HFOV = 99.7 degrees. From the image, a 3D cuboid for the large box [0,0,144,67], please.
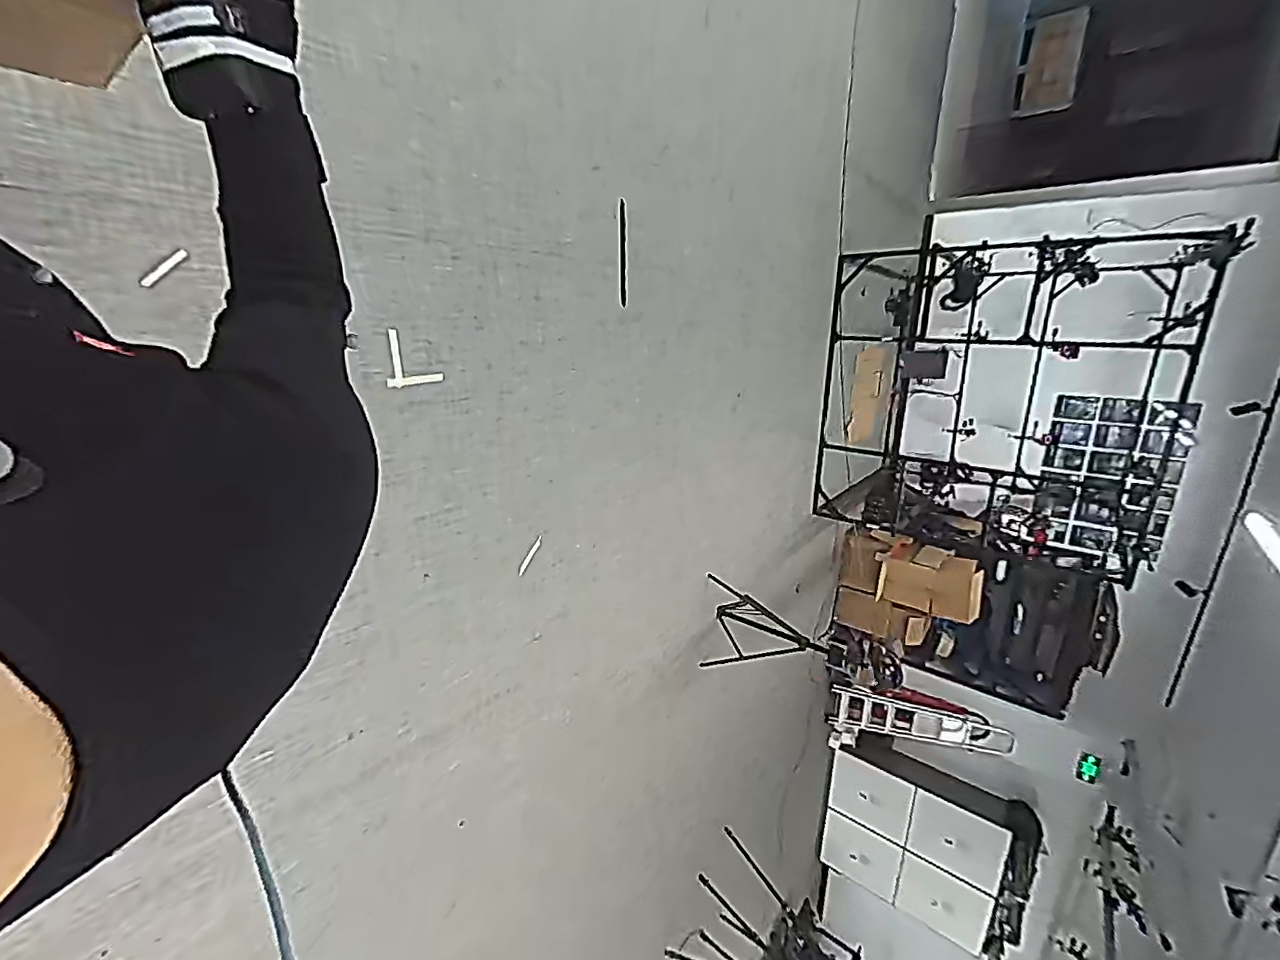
[{"bbox_3d":[-0.540,-0.466,0.249,0.408,0.320,0.320,-19,118,-48],"label":"large box"}]
